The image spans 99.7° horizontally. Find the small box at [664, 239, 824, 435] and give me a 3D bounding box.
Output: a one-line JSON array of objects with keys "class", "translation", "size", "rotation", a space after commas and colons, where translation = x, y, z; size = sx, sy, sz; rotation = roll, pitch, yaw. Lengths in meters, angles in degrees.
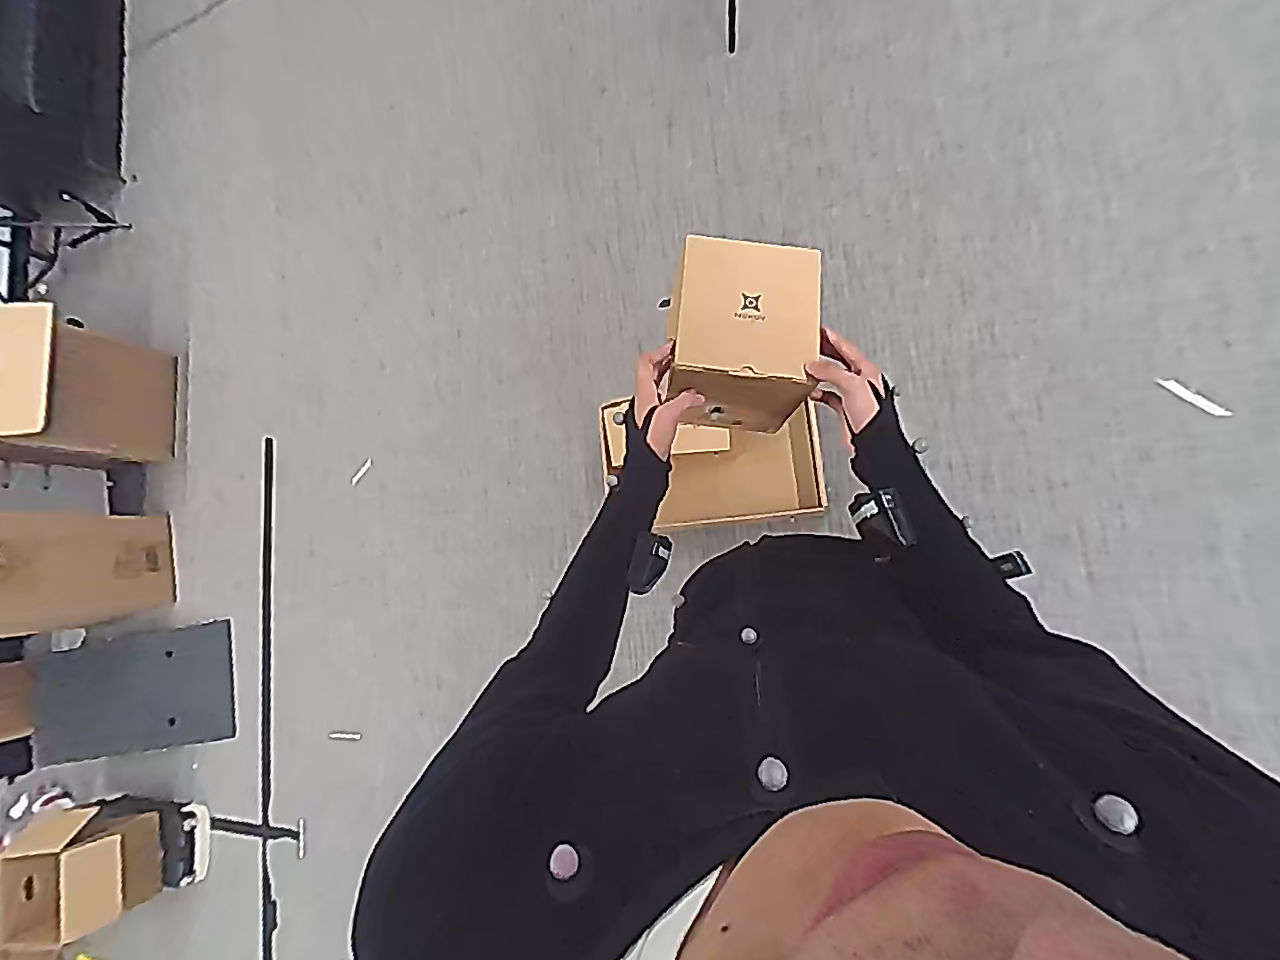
[{"class": "small box", "translation": [0.124, -0.174, 0.696], "size": [0.168, 0.176, 0.179], "rotation": [5, 75, -2]}]
